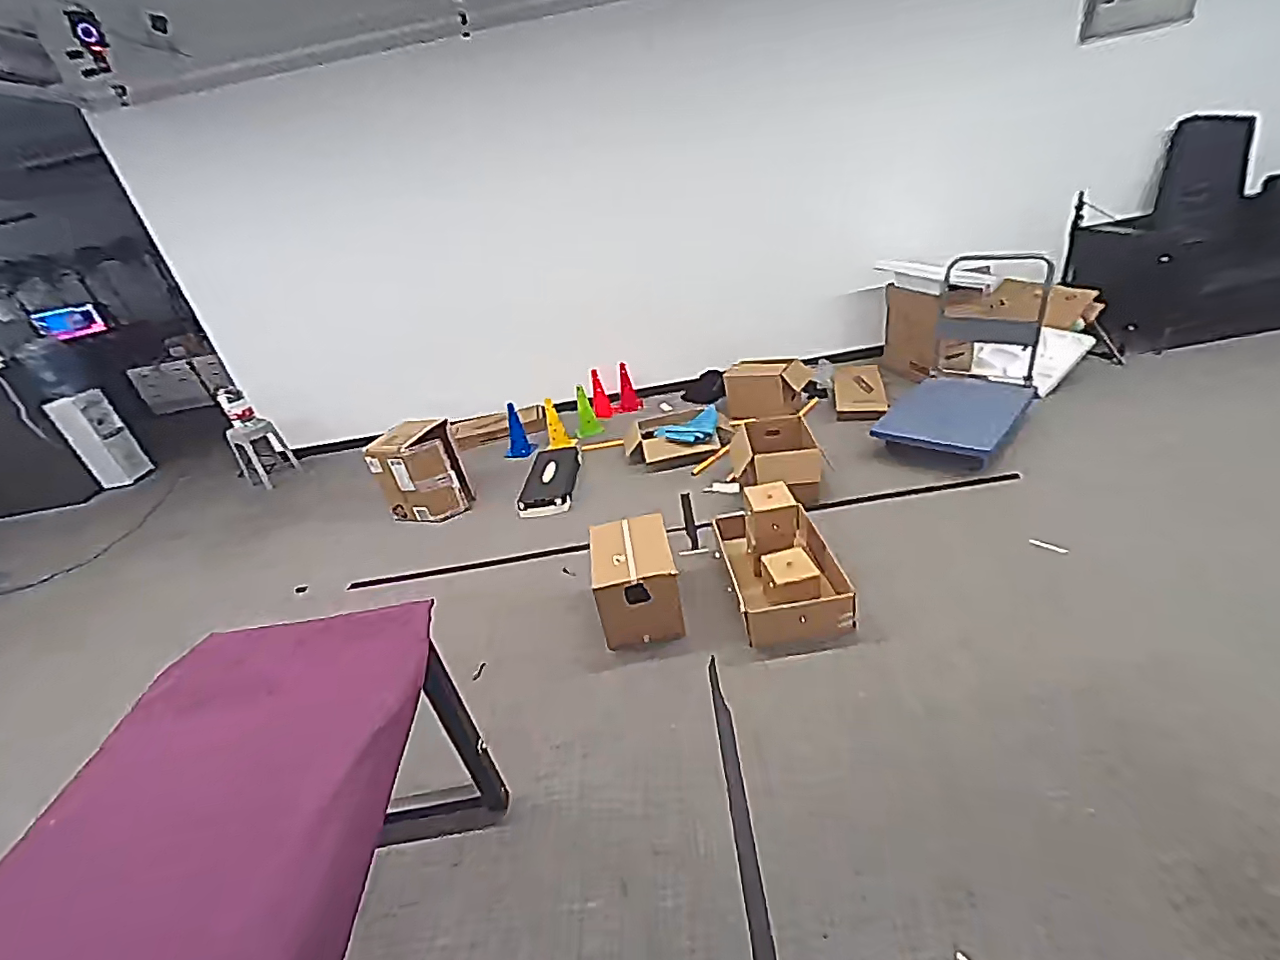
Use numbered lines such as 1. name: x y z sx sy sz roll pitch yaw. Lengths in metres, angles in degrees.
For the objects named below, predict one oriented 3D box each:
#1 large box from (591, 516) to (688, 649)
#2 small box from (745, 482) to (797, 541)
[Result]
1. large box: -0.008 0.402 2.174 0.320 0.320 0.408 -12 30 0
2. small box: 0.524 0.133 2.168 0.168 0.176 0.179 -9 31 0
